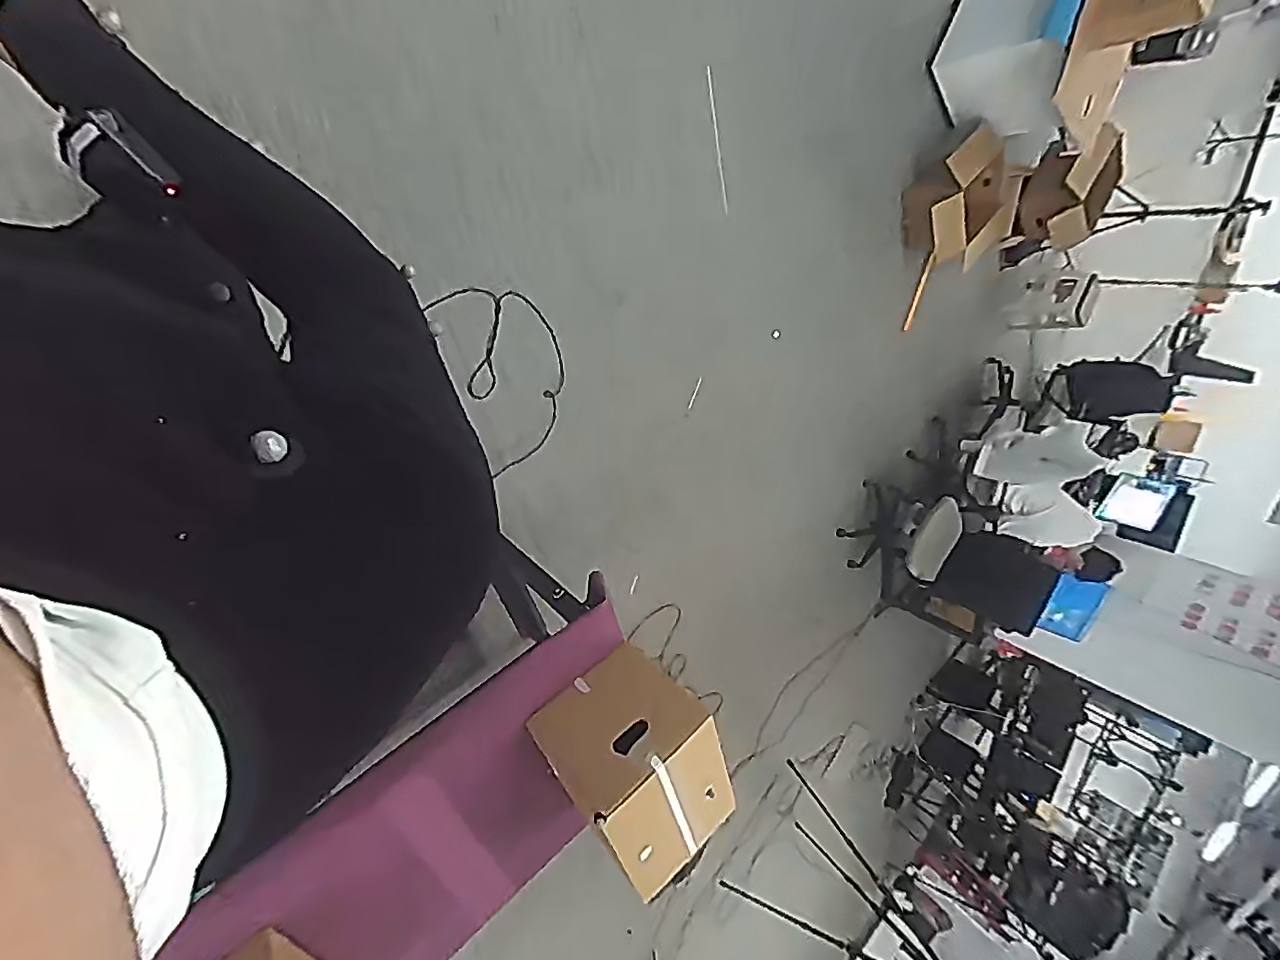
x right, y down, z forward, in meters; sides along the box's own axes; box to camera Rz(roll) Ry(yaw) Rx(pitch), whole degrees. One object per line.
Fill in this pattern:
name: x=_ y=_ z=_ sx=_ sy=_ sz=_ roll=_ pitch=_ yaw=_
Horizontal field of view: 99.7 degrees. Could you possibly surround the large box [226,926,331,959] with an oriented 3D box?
large box: x=-0.655 y=1.100 z=0.935 sx=0.320 sy=0.320 sz=0.408 roll=-34 pitch=126 yaw=-28
